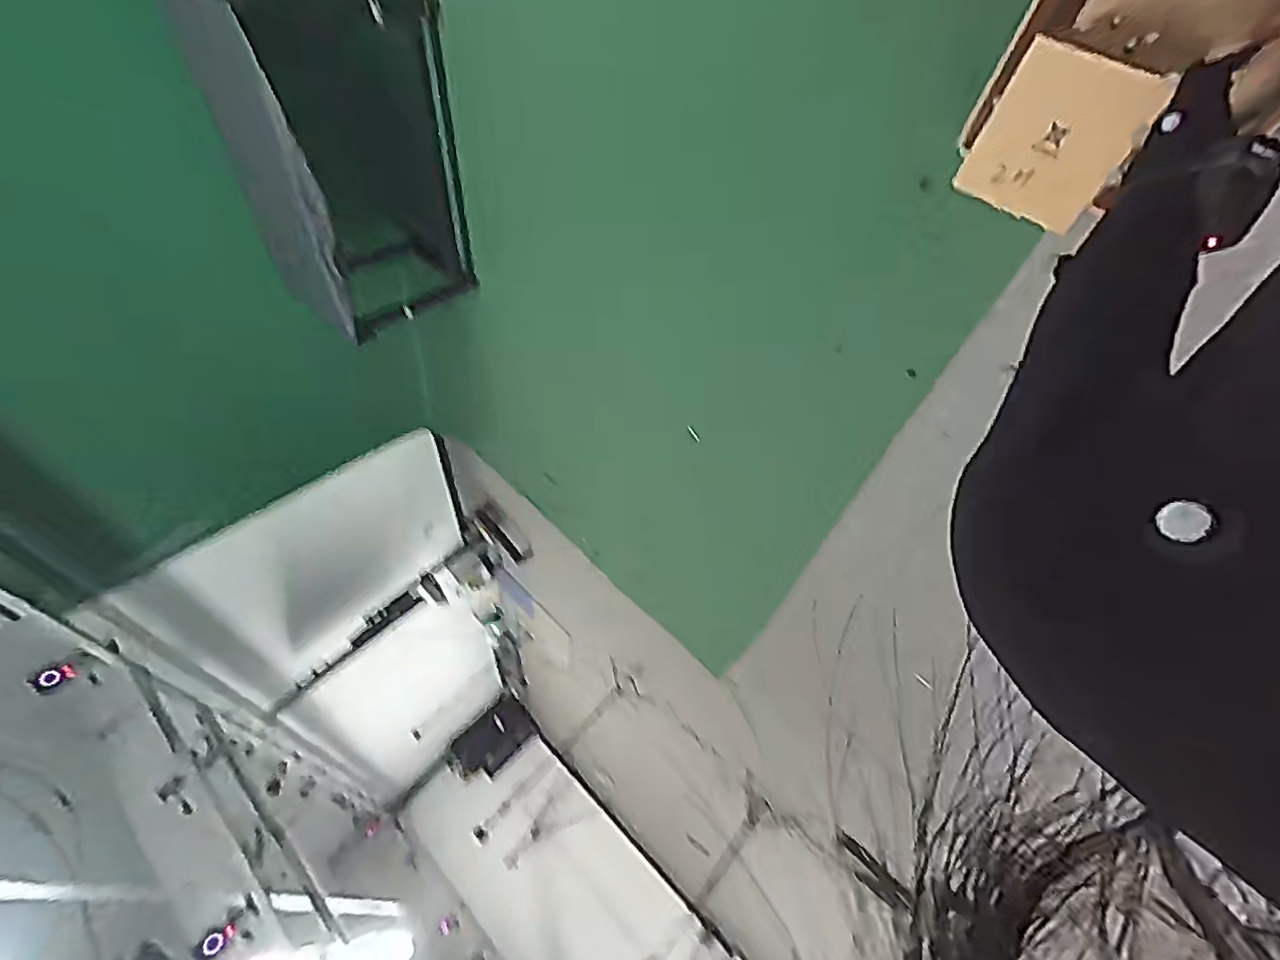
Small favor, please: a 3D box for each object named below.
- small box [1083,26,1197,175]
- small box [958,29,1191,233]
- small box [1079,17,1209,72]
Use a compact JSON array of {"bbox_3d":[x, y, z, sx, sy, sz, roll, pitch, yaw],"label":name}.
[{"bbox_3d":[0.683,-0.552,0.819,0.168,0.176,0.179,38,145,19],"label":"small box"},{"bbox_3d":[0.576,-0.470,0.722,0.168,0.176,0.179,39,146,20],"label":"small box"},{"bbox_3d":[0.786,-0.647,0.905,0.179,0.176,0.168,38,146,20],"label":"small box"}]
